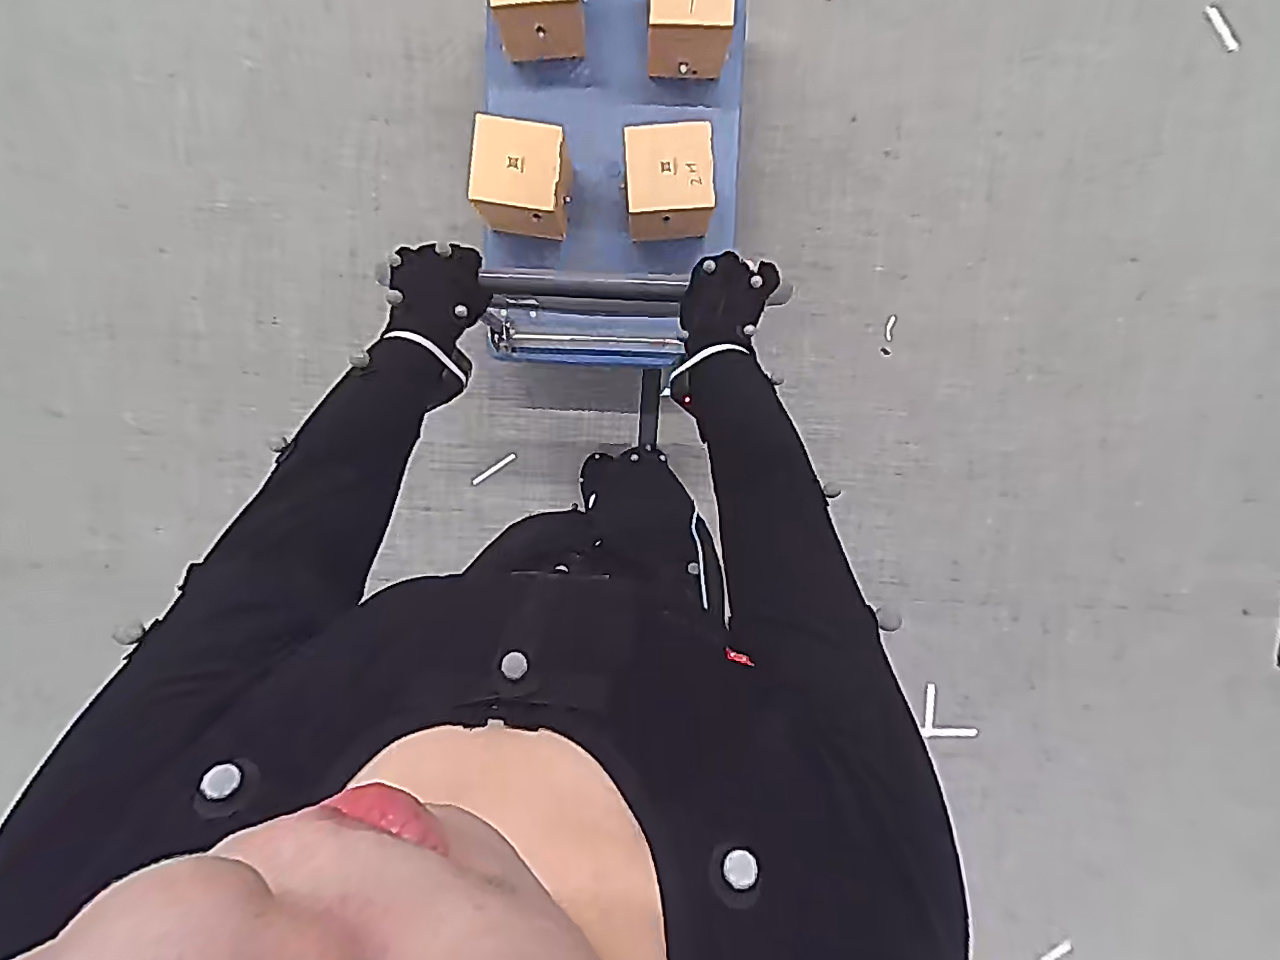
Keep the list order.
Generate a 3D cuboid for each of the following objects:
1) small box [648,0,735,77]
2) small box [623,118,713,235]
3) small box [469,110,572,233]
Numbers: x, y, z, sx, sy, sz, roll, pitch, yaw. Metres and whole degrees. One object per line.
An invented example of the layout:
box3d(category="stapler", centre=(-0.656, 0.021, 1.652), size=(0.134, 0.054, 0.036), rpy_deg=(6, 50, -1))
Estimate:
box3d(category="small box", centre=(0.104, -0.987, 1.122), size=(0.168, 0.176, 0.179), rpy_deg=(2, 97, 0))
box3d(category="small box", centre=(0.059, -0.639, 1.159), size=(0.179, 0.176, 0.168), rpy_deg=(-3, 96, 1))
box3d(category="small box", centre=(-0.248, -0.649, 1.157), size=(0.179, 0.176, 0.168), rpy_deg=(8, 95, -3))
